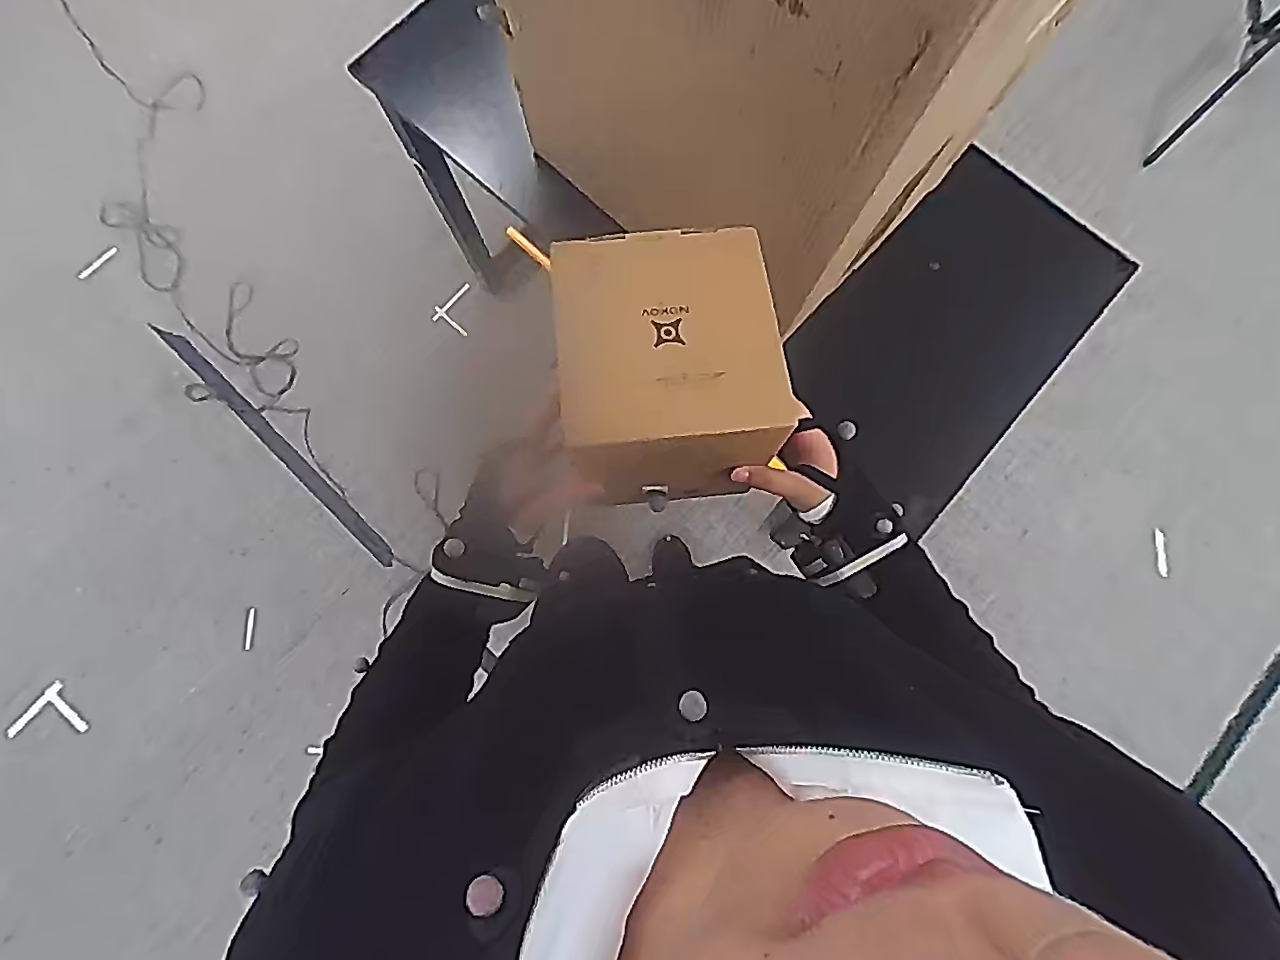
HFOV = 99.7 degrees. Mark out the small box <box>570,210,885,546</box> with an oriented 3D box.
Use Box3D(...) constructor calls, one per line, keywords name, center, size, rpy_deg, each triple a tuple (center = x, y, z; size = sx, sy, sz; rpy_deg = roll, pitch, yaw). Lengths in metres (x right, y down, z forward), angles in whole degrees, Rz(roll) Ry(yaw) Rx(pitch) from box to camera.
Box3D(name="small box", center=(0.042, -0.059, 0.391), size=(0.168, 0.176, 0.179), rpy_deg=(-6, 74, -3))
